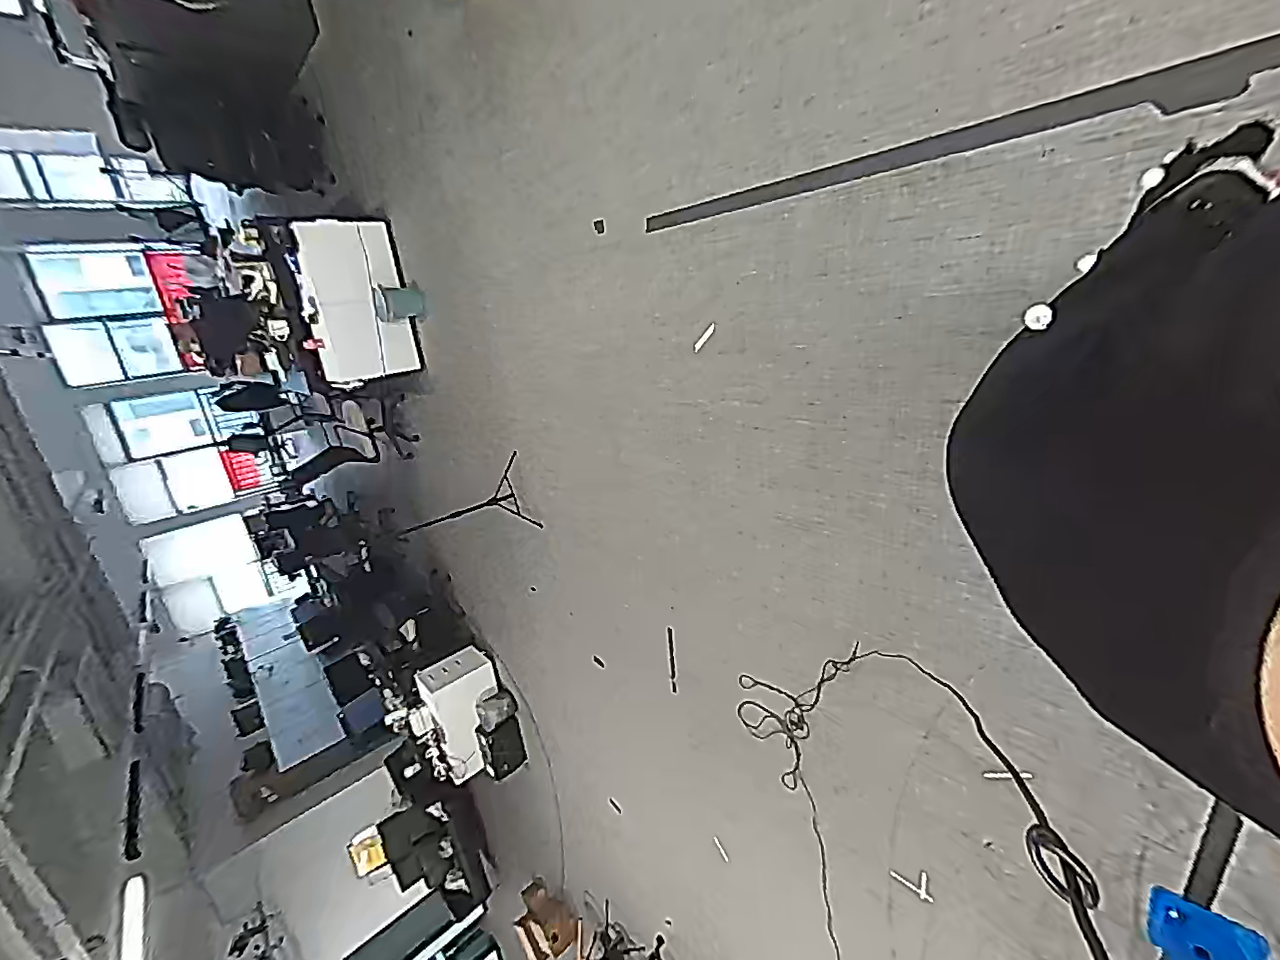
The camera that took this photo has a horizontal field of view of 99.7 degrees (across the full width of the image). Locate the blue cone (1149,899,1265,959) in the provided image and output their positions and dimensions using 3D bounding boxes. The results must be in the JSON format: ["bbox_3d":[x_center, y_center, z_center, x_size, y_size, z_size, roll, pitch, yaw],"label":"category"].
[{"bbox_3d":[1.264,1.192,1.224,0.192,0.380,0.193,10,115,47],"label":"blue cone"}]
